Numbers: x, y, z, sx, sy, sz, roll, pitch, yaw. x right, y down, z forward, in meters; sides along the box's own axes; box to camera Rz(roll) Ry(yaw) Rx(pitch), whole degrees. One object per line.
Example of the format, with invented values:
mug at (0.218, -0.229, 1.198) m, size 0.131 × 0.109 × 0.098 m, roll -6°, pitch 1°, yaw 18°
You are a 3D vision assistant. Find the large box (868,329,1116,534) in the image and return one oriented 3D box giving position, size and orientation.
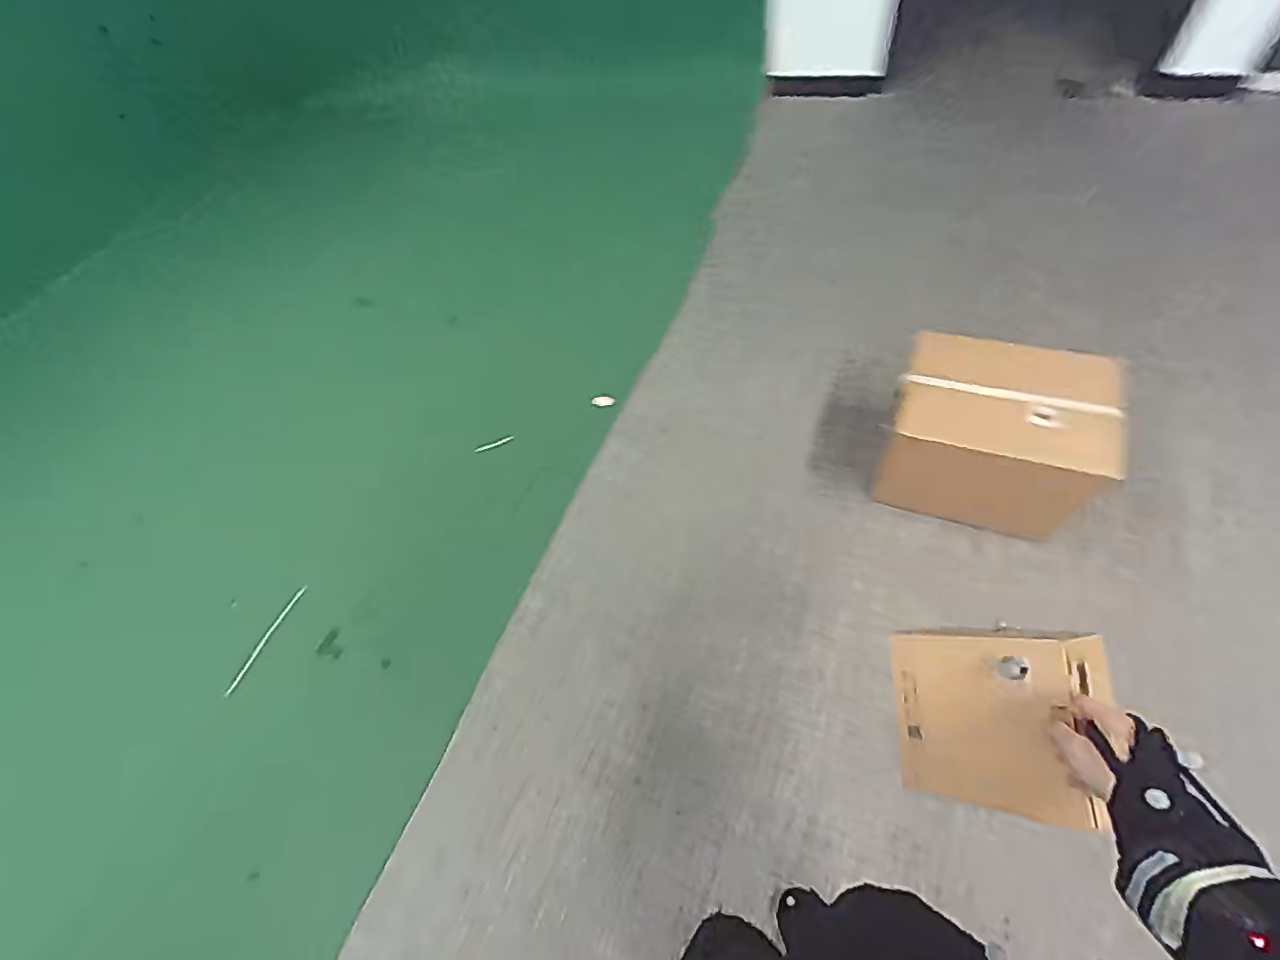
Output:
large box at (0.799, -0.112, 1.279) m, size 0.408 × 0.320 × 0.320 m, roll 15°, pitch 65°, yaw 18°
